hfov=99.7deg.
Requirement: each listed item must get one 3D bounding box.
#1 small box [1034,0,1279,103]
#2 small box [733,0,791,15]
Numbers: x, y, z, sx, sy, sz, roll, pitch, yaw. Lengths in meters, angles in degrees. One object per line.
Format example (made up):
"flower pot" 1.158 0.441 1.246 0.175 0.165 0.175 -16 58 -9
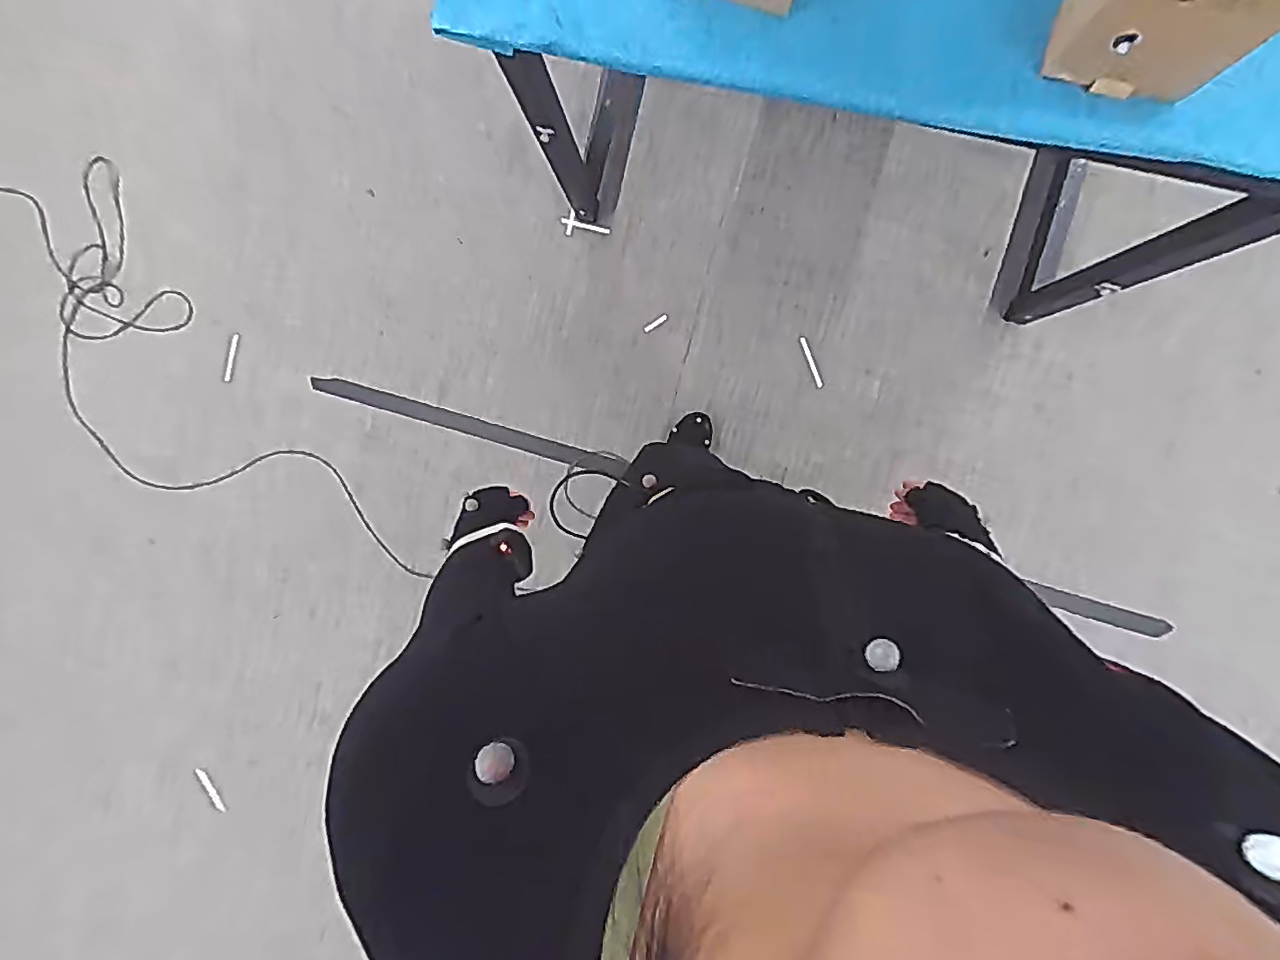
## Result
"small box" 0.579 -0.557 0.579 0.168 0.176 0.179 14 95 4
"small box" 0.129 -0.692 0.604 0.168 0.176 0.179 20 97 2
